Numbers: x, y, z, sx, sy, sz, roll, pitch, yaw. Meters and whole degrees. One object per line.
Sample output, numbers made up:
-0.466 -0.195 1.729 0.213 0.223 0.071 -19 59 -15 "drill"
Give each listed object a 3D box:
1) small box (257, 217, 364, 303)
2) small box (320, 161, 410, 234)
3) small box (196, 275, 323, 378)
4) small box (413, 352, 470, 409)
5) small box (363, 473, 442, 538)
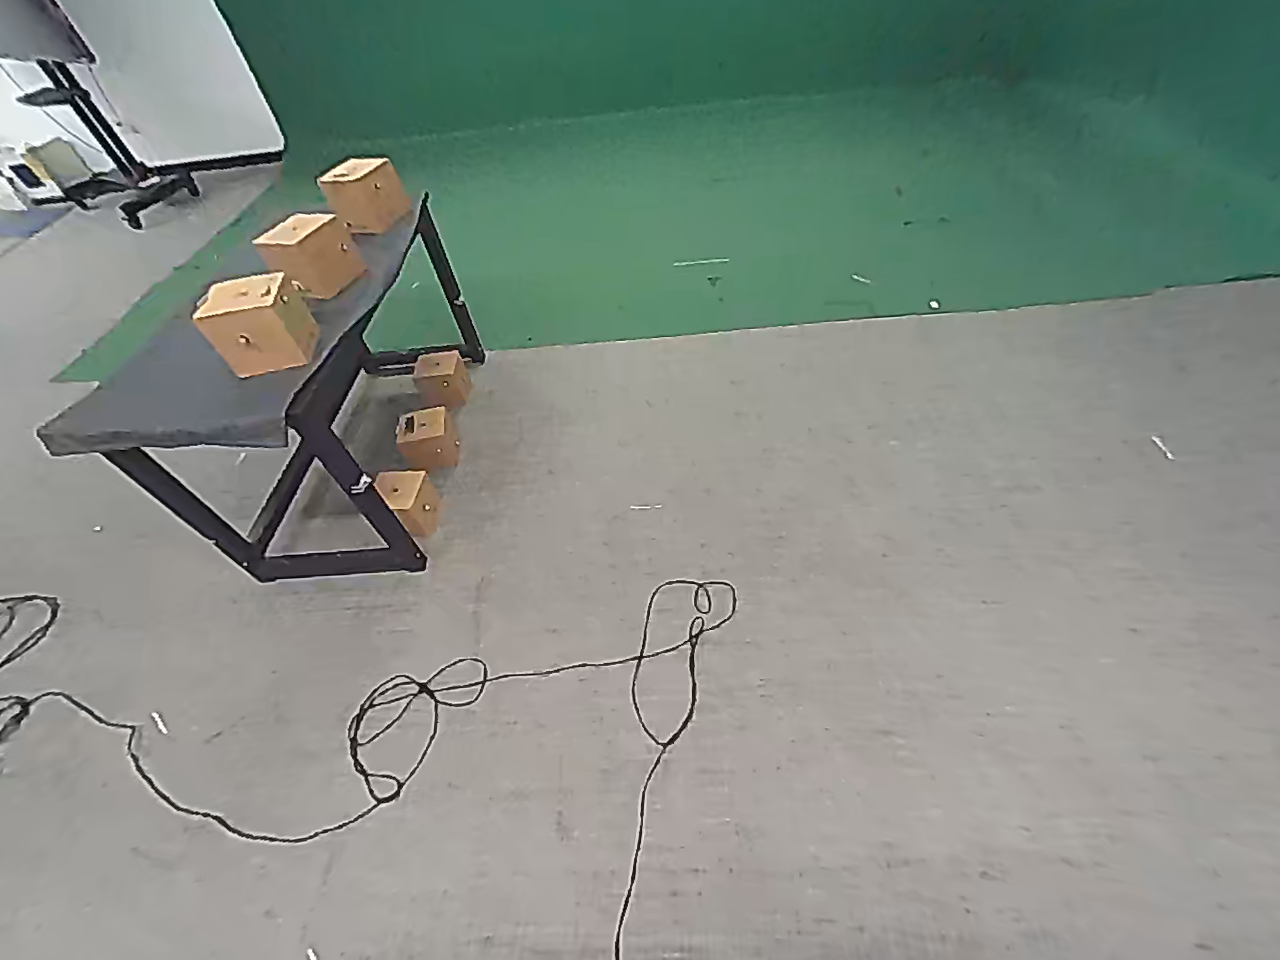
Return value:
-0.938 -0.638 1.562 0.168 0.176 0.179 9 53 19 "small box"
-0.912 -0.944 1.813 0.168 0.176 0.179 11 53 19 "small box"
-0.927 -0.375 1.335 0.179 0.176 0.168 -14 49 -5 "small box"
-0.847 -0.428 2.330 0.179 0.176 0.168 -8 49 1 "small box"
-0.819 0.090 1.891 0.179 0.176 0.168 -1 50 7 "small box"
